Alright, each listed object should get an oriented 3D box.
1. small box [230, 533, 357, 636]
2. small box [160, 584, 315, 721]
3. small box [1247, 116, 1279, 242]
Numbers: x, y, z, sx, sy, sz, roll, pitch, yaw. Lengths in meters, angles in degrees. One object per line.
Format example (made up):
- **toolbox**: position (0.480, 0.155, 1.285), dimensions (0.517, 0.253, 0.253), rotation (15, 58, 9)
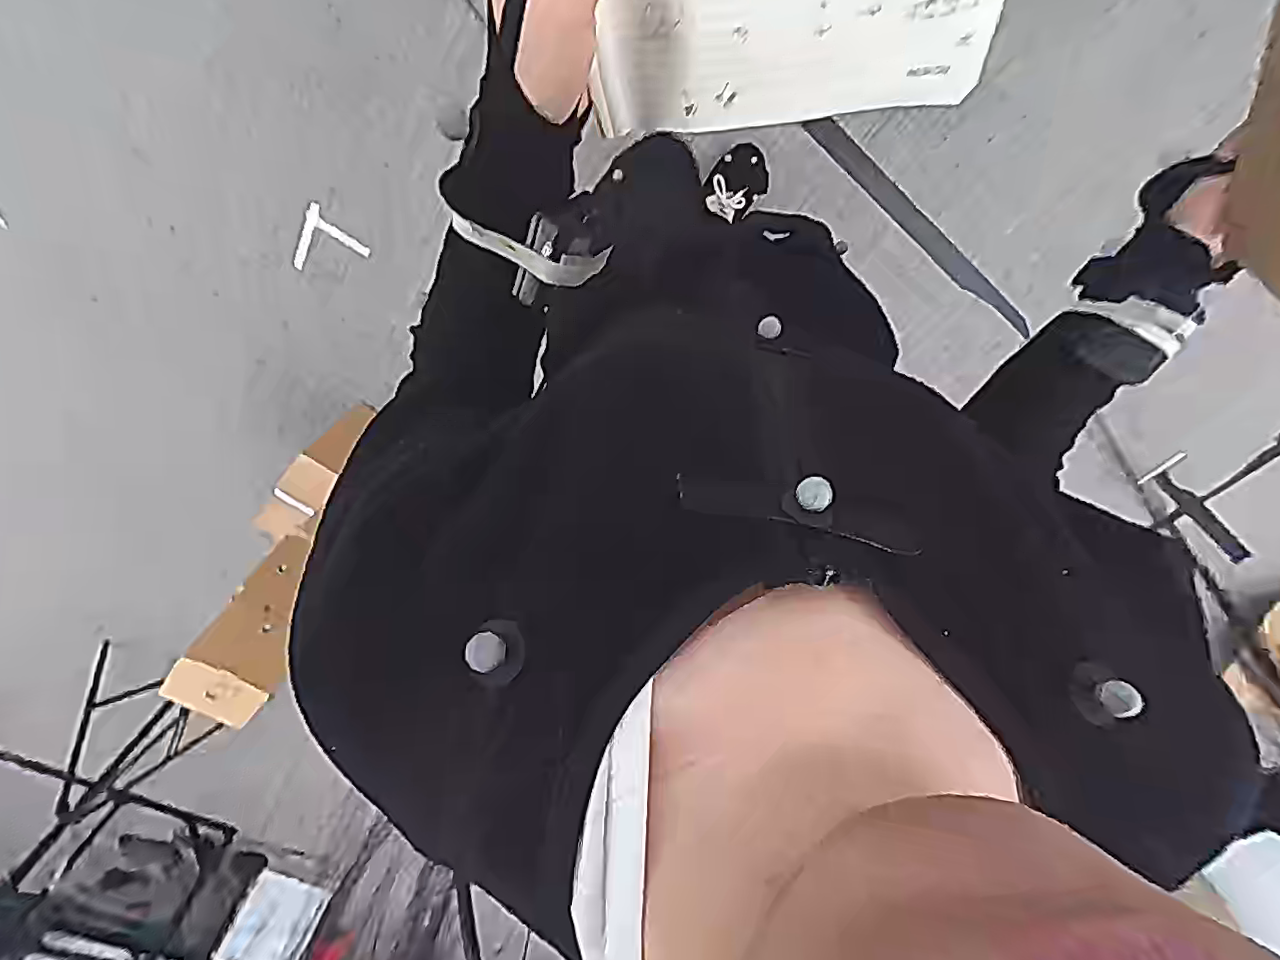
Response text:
- **small box**: position (-0.788, 0.247, 1.226), dimensions (0.179, 0.176, 0.168), rotation (35, 120, -19)
- **small box**: position (-0.804, 0.347, 1.096), dimensions (0.168, 0.176, 0.179), rotation (38, 119, -20)
- **small box**: position (0.403, -0.153, 0.207), dimensions (0.168, 0.176, 0.179), rotation (-26, 146, 29)
